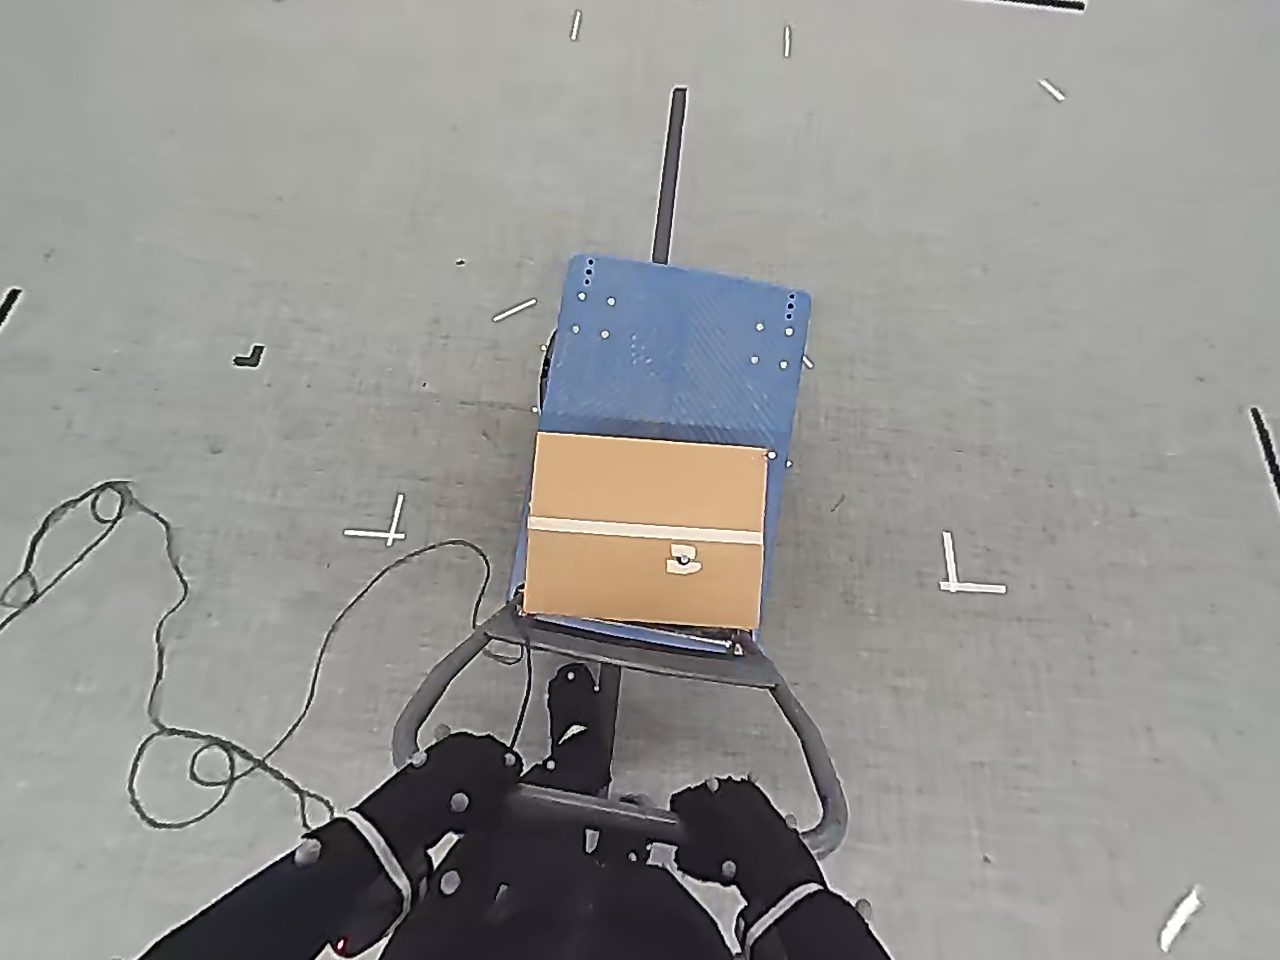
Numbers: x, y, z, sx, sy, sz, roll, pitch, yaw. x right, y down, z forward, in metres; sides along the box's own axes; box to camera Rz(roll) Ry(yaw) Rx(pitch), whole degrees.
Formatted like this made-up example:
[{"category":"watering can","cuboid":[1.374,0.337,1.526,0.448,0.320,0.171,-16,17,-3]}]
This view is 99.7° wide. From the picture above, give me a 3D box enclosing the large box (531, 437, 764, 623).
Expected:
[{"category":"large box","cuboid":[0.011,0.099,1.100,0.408,0.320,0.320,4,87,-1]}]
